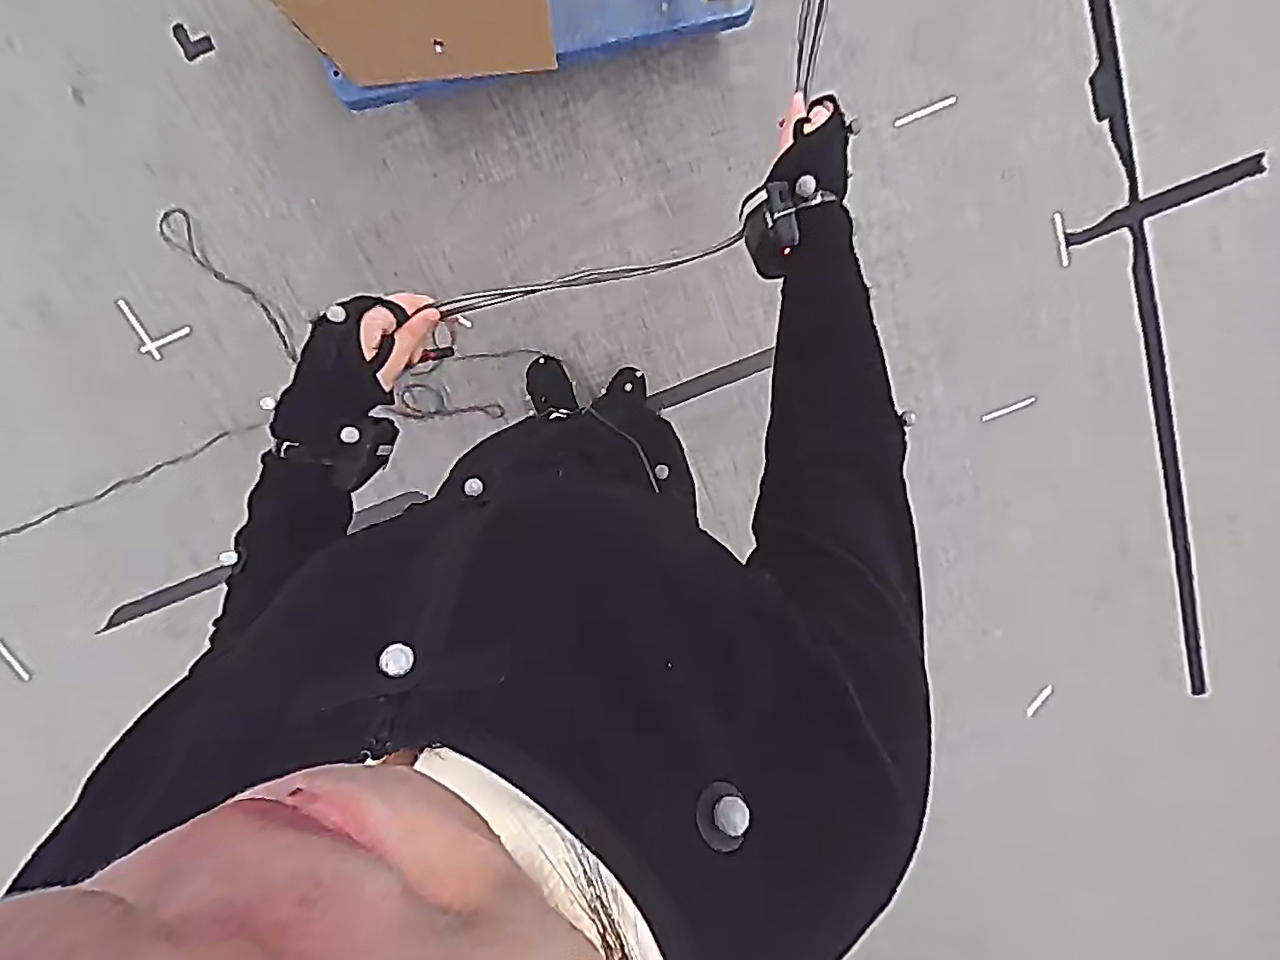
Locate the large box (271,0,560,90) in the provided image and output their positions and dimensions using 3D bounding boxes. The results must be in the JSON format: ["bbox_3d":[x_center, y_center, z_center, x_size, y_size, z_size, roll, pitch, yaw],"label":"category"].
[{"bbox_3d":[-0.367,-0.903,0.896,0.408,0.320,0.320,-7,104,-1],"label":"large box"}]
